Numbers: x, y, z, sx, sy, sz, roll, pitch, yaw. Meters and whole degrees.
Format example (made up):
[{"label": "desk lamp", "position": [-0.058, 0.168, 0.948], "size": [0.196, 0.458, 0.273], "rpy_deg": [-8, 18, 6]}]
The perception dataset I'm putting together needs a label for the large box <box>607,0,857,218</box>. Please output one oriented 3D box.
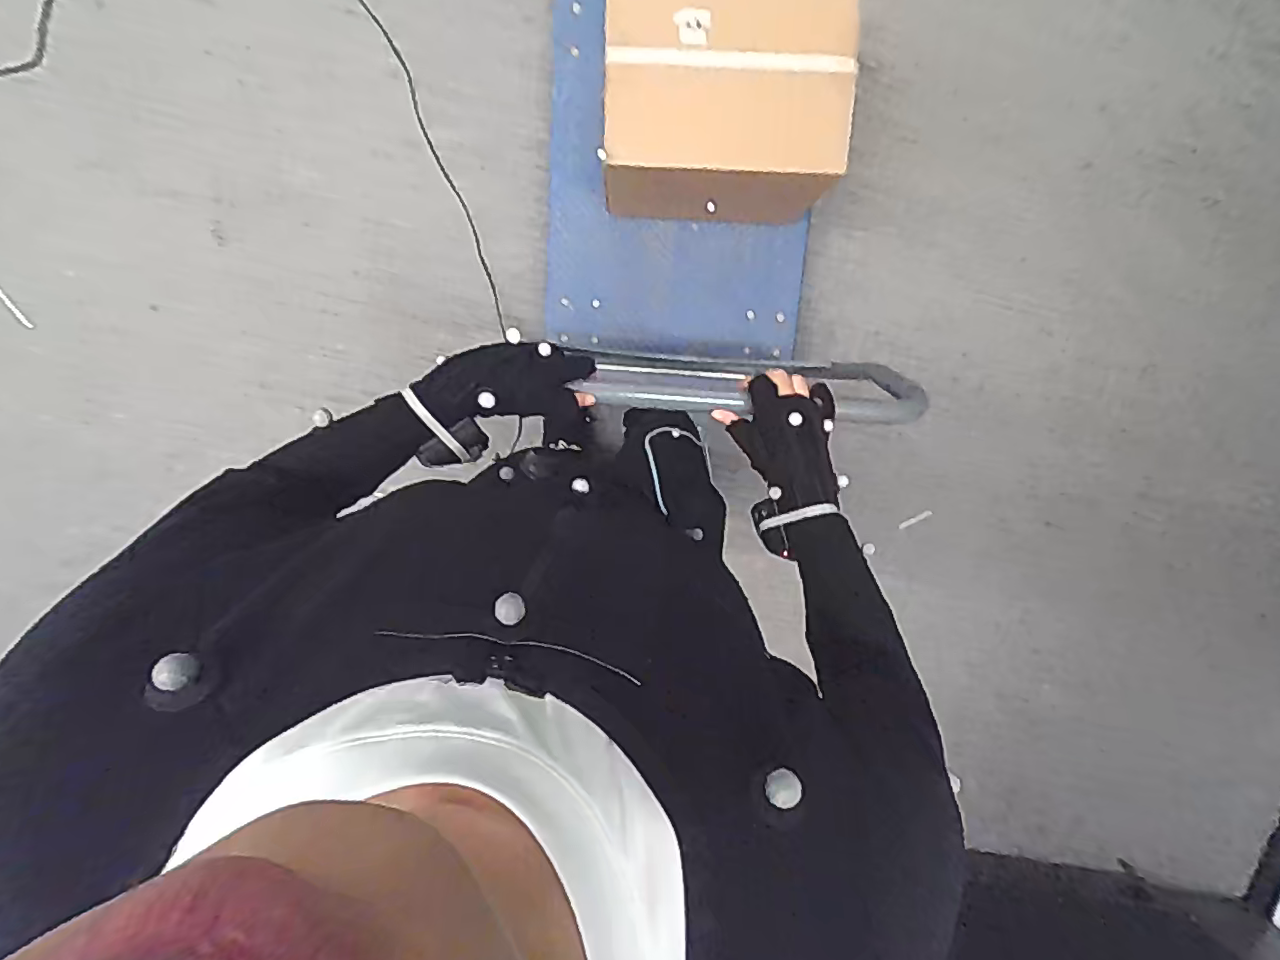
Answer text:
[{"label": "large box", "position": [0.146, -0.698, 1.018], "size": [0.408, 0.320, 0.320], "rpy_deg": [0, 100, -1]}]
